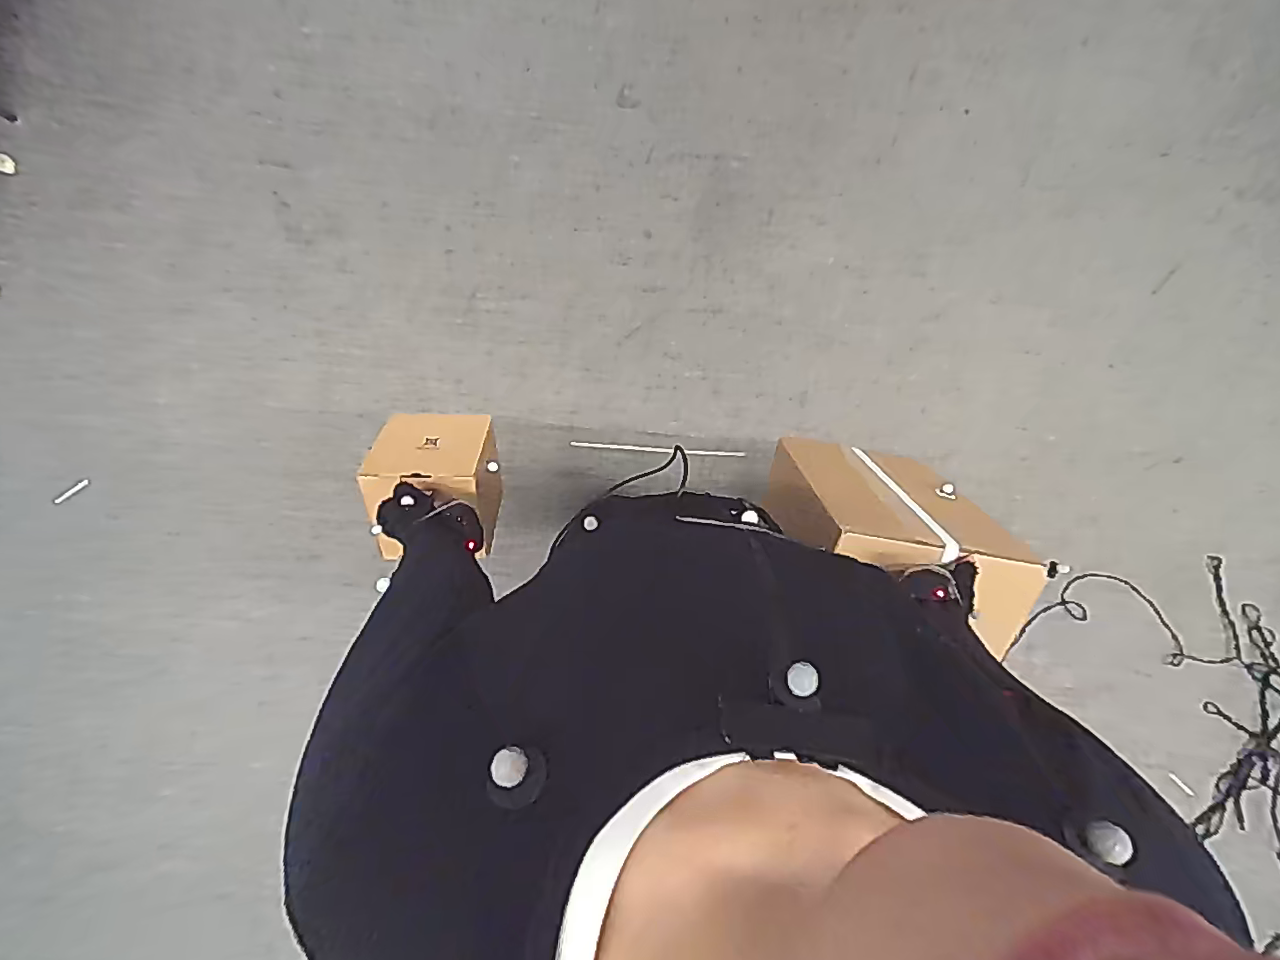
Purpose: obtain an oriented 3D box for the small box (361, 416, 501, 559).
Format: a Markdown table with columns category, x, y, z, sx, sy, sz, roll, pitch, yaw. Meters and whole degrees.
| category | x | y | z | sx | sy | sz | roll | pitch | yaw |
| --- | --- | --- | --- | --- | --- | --- | --- | --- | --- |
| small box | -0.328 | 0.010 | 0.892 | 0.168 | 0.179 | 0.176 | -1 | 128 | -4 |
